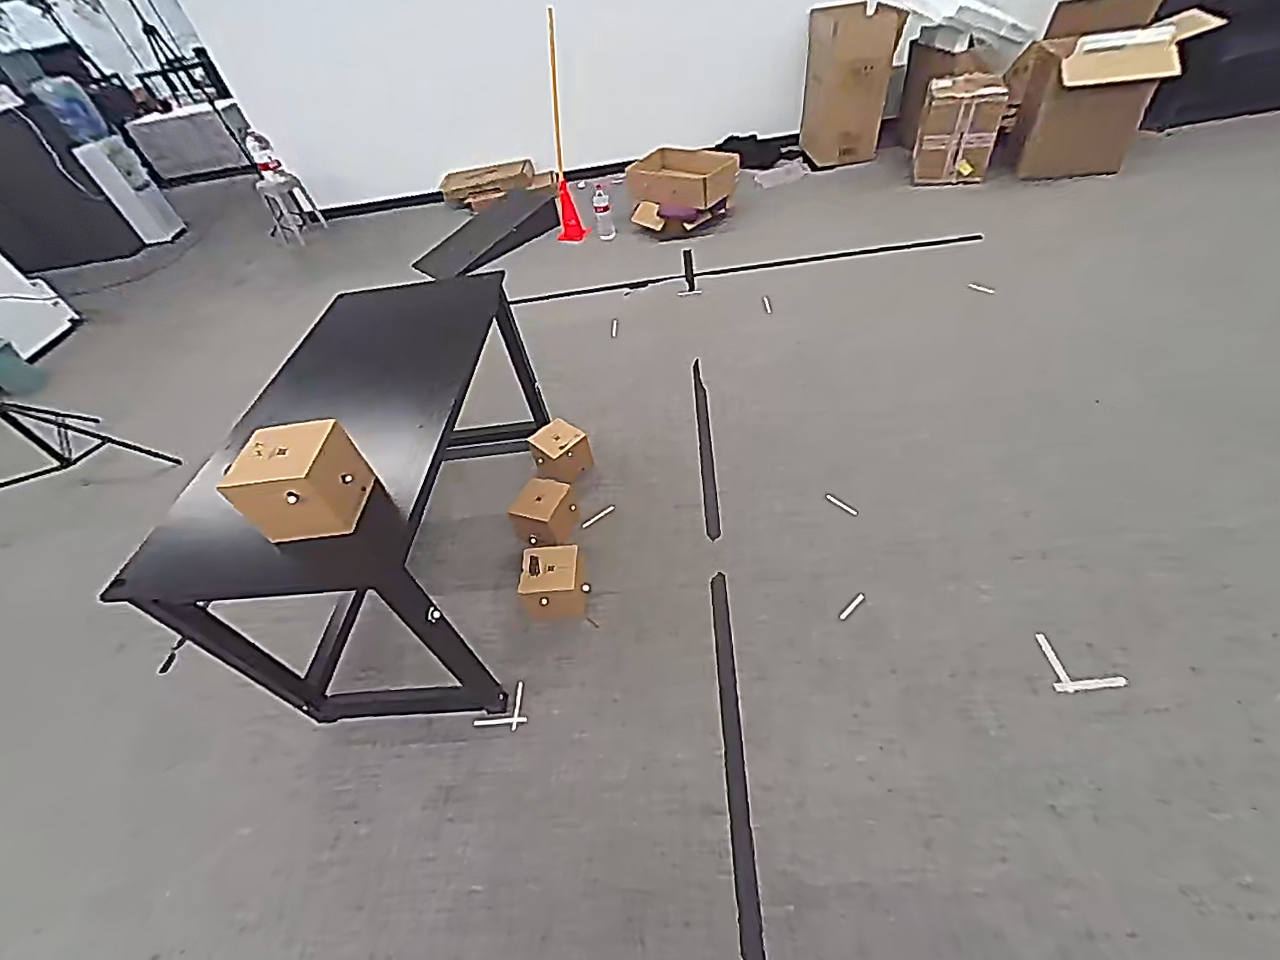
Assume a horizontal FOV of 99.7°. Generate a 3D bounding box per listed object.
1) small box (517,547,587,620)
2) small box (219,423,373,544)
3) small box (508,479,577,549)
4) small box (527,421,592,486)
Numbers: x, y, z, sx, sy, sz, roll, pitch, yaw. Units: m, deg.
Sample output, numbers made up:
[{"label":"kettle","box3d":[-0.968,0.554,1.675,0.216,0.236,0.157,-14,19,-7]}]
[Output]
[{"label":"small box","box3d":[-0.273,0.334,1.721,0.179,0.176,0.168,-5,47,4]},{"label":"small box","box3d":[-0.676,0.010,1.092,0.179,0.176,0.168,-8,46,5]},{"label":"small box","box3d":[-0.337,0.126,1.929,0.168,0.176,0.179,10,51,21]},{"label":"small box","box3d":[-0.314,-0.100,2.131,0.179,0.176,0.168,31,60,33]}]
